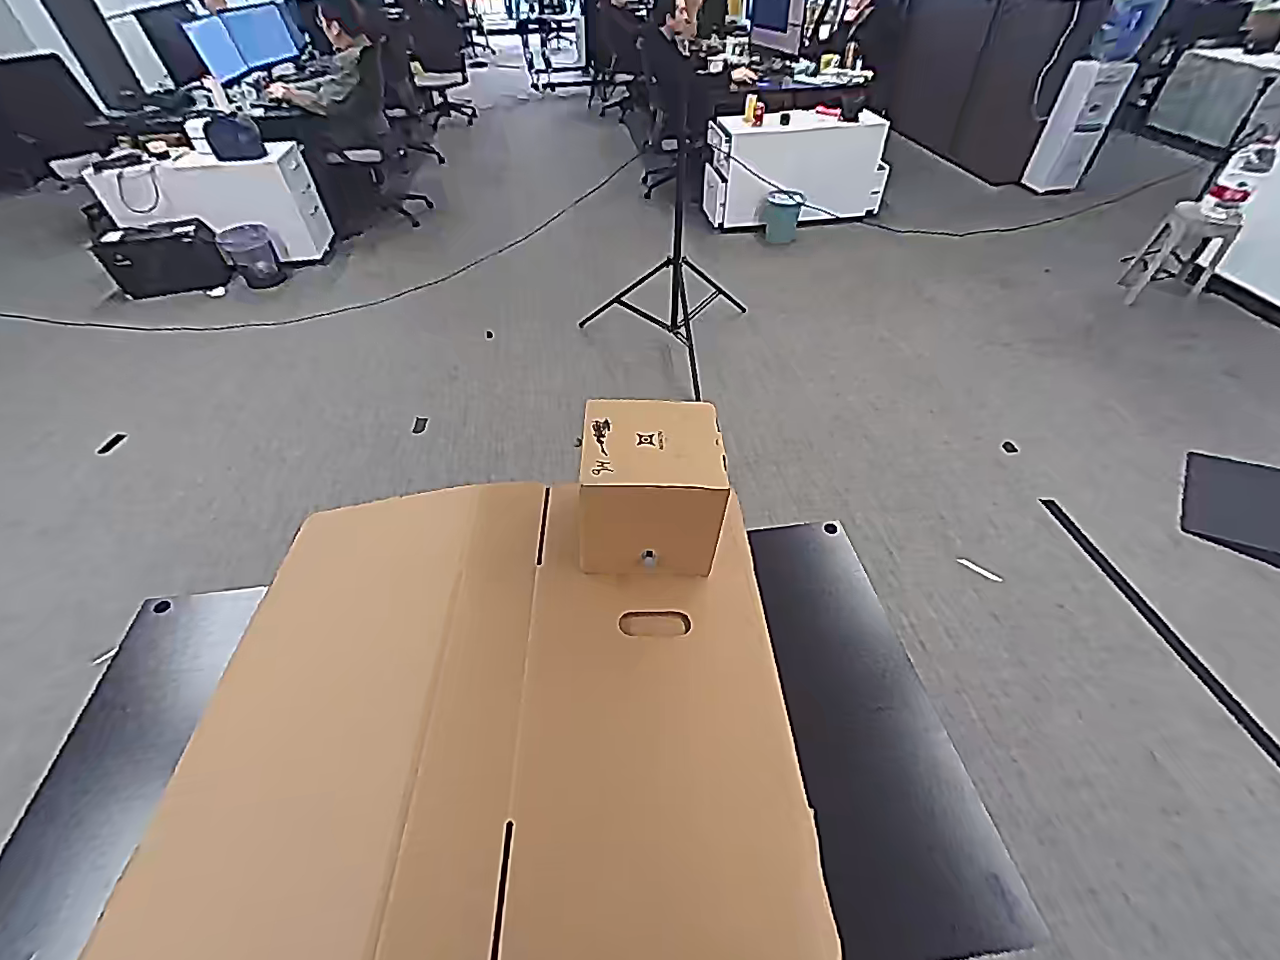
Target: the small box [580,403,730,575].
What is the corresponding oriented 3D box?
[{"bbox_3d":[0.011,0.015,0.733,0.179,0.176,0.168,2,43,-4],"label":"small box"}]
